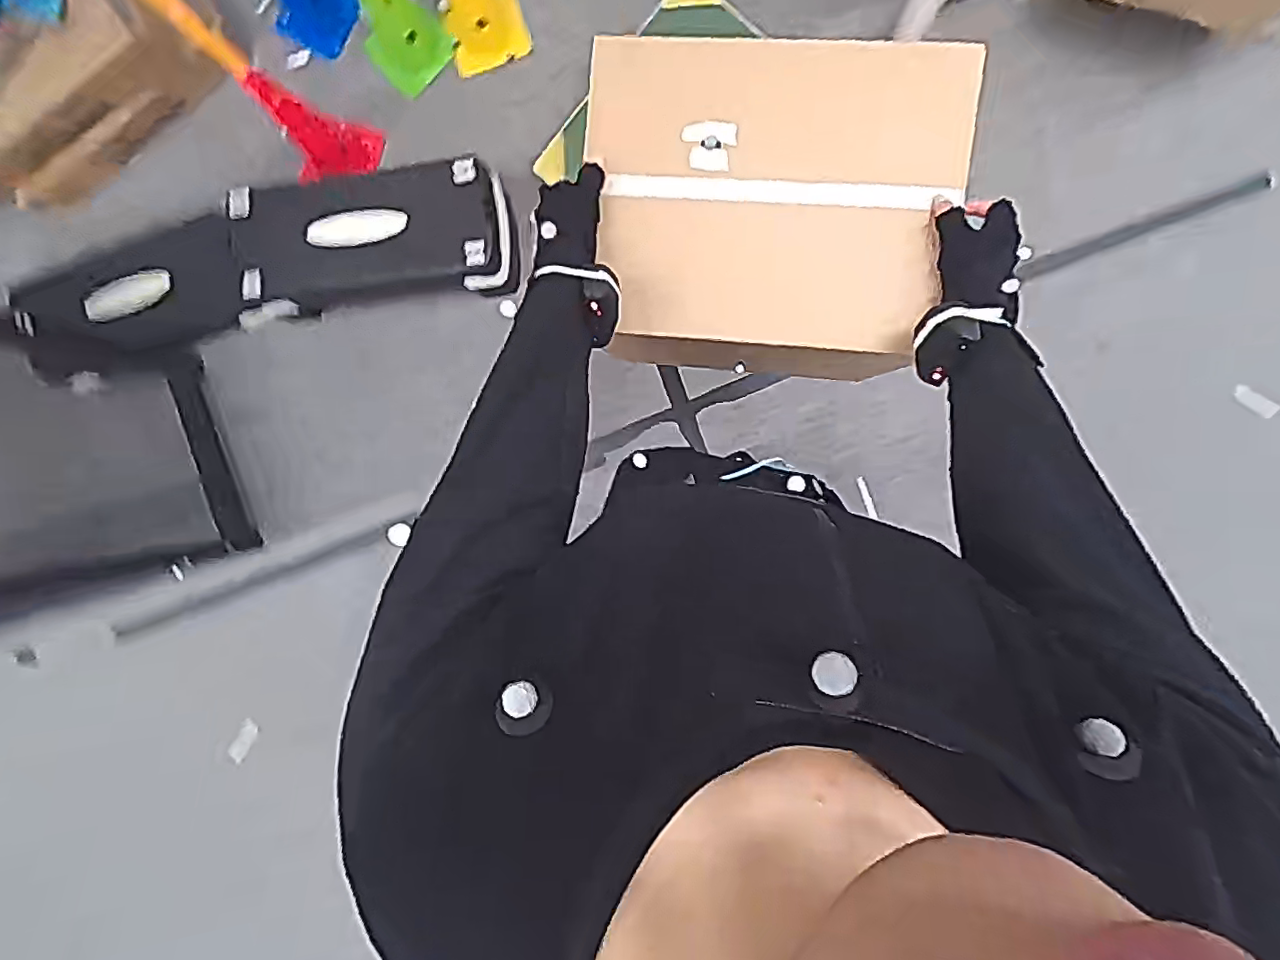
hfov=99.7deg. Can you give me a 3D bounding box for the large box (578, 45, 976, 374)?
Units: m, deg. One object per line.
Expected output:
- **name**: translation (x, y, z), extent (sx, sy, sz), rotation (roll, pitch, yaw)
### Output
- **large box**: translation (0.157, -0.324, 0.740), extent (0.408, 0.320, 0.320), rotation (7, 96, 6)
